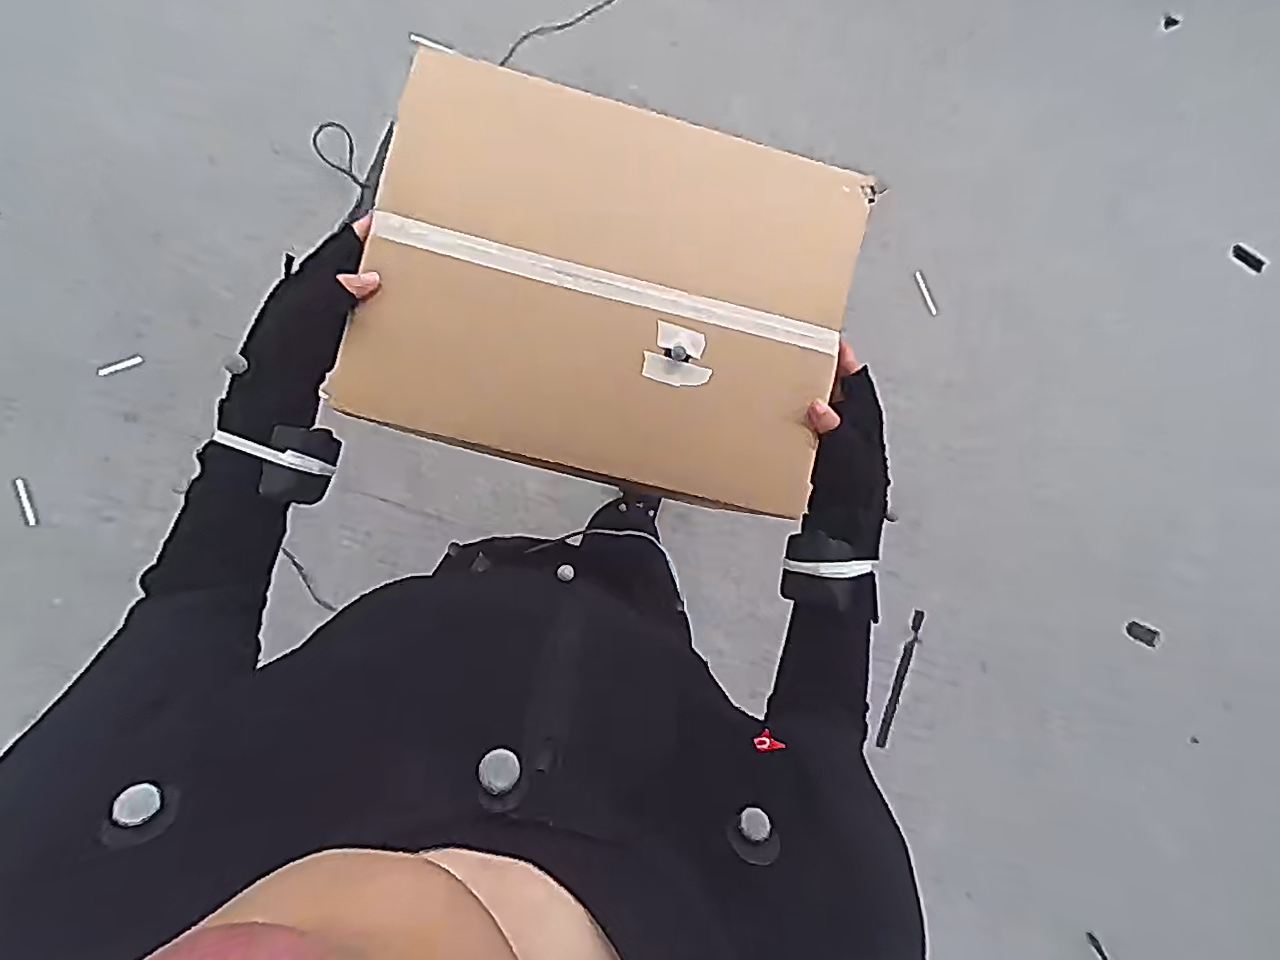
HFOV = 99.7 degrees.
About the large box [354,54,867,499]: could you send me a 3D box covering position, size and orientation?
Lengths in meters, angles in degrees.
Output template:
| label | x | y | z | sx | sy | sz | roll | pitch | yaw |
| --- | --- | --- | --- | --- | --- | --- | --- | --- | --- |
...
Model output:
| label | x | y | z | sx | sy | sz | roll | pitch | yaw |
| --- | --- | --- | --- | --- | --- | --- | --- | --- | --- |
| large box | -0.031 | -0.172 | 0.621 | 0.408 | 0.320 | 0.320 | 14 | 89 | -5 |
